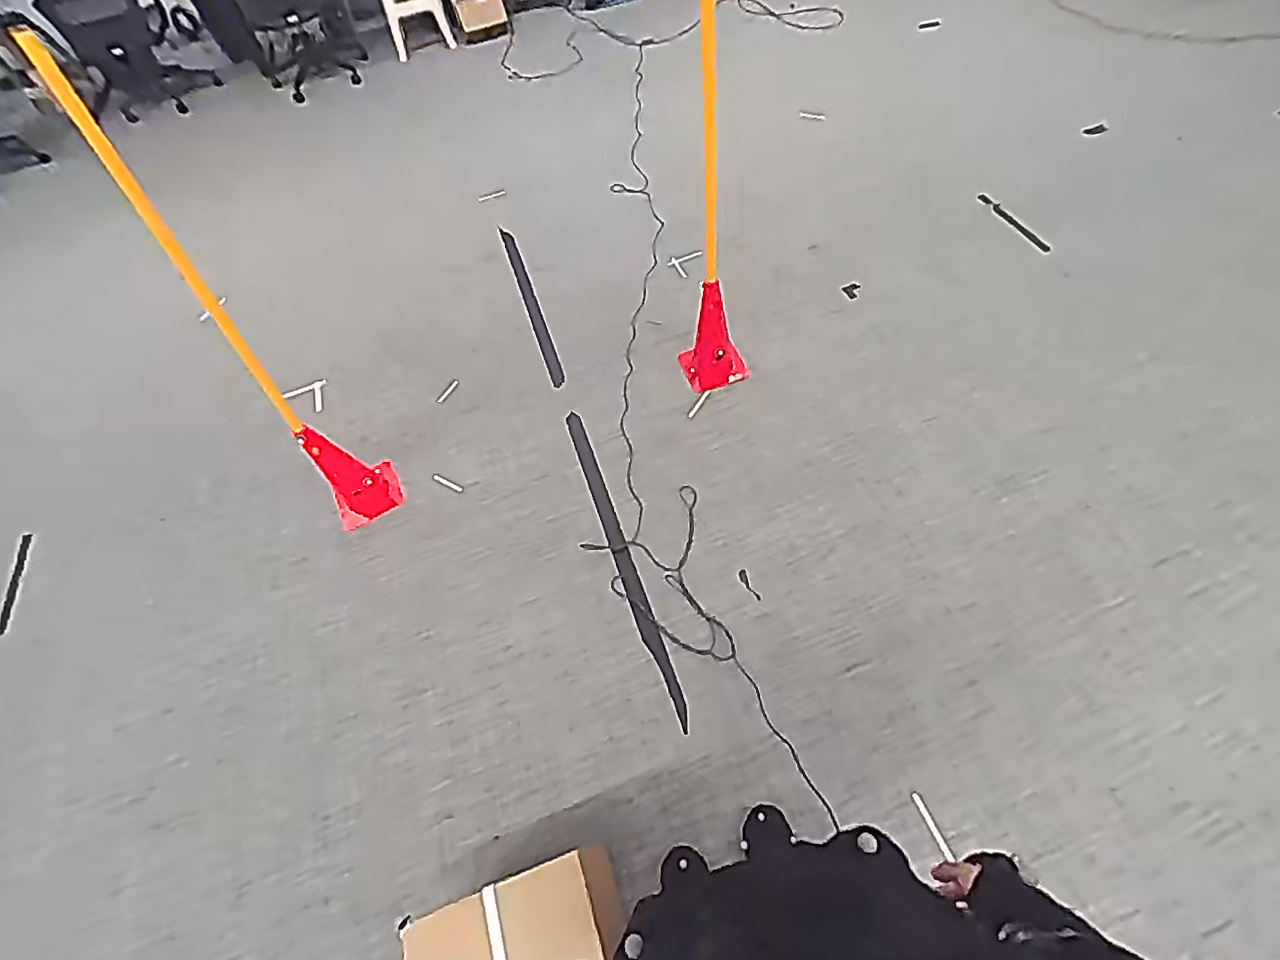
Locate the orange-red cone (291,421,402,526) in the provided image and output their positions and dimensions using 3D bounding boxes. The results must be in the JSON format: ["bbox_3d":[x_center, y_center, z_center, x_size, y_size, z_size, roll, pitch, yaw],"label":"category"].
[{"bbox_3d":[-0.891,-0.050,1.585,0.199,0.360,0.198,-28,59,-8],"label":"orange-red cone"}]
